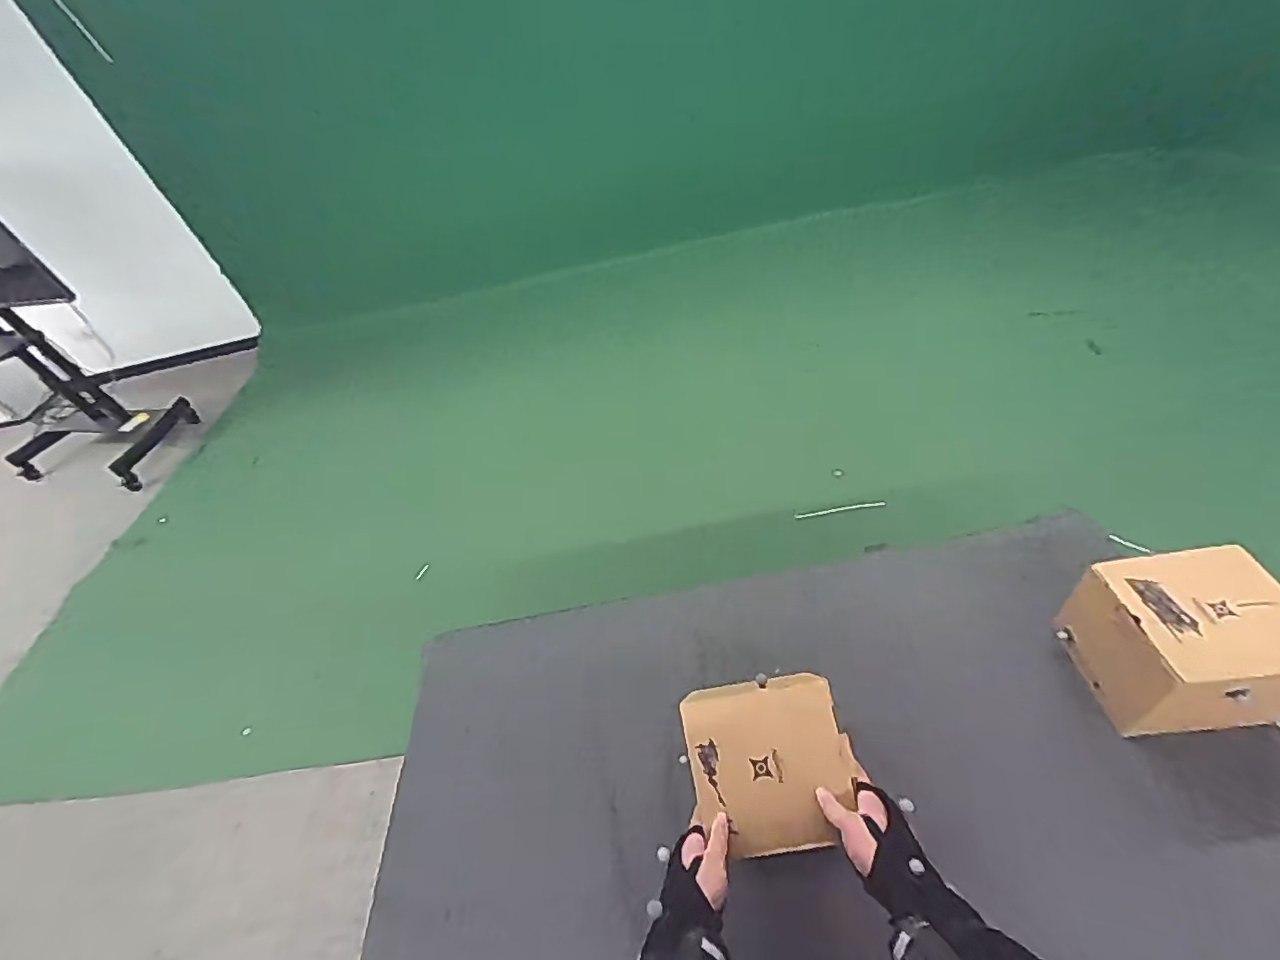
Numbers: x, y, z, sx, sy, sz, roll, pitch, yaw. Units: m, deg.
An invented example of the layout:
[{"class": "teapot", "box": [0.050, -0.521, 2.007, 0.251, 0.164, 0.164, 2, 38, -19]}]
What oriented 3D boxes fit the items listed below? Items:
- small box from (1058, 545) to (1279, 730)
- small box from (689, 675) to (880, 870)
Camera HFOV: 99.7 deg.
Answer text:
[{"class": "small box", "box": [0.695, 0.210, 0.708, 0.179, 0.176, 0.168, -8, 45, 4]}, {"class": "small box", "box": [0.160, 0.340, 0.662, 0.179, 0.176, 0.168, -12, 71, 3]}]
